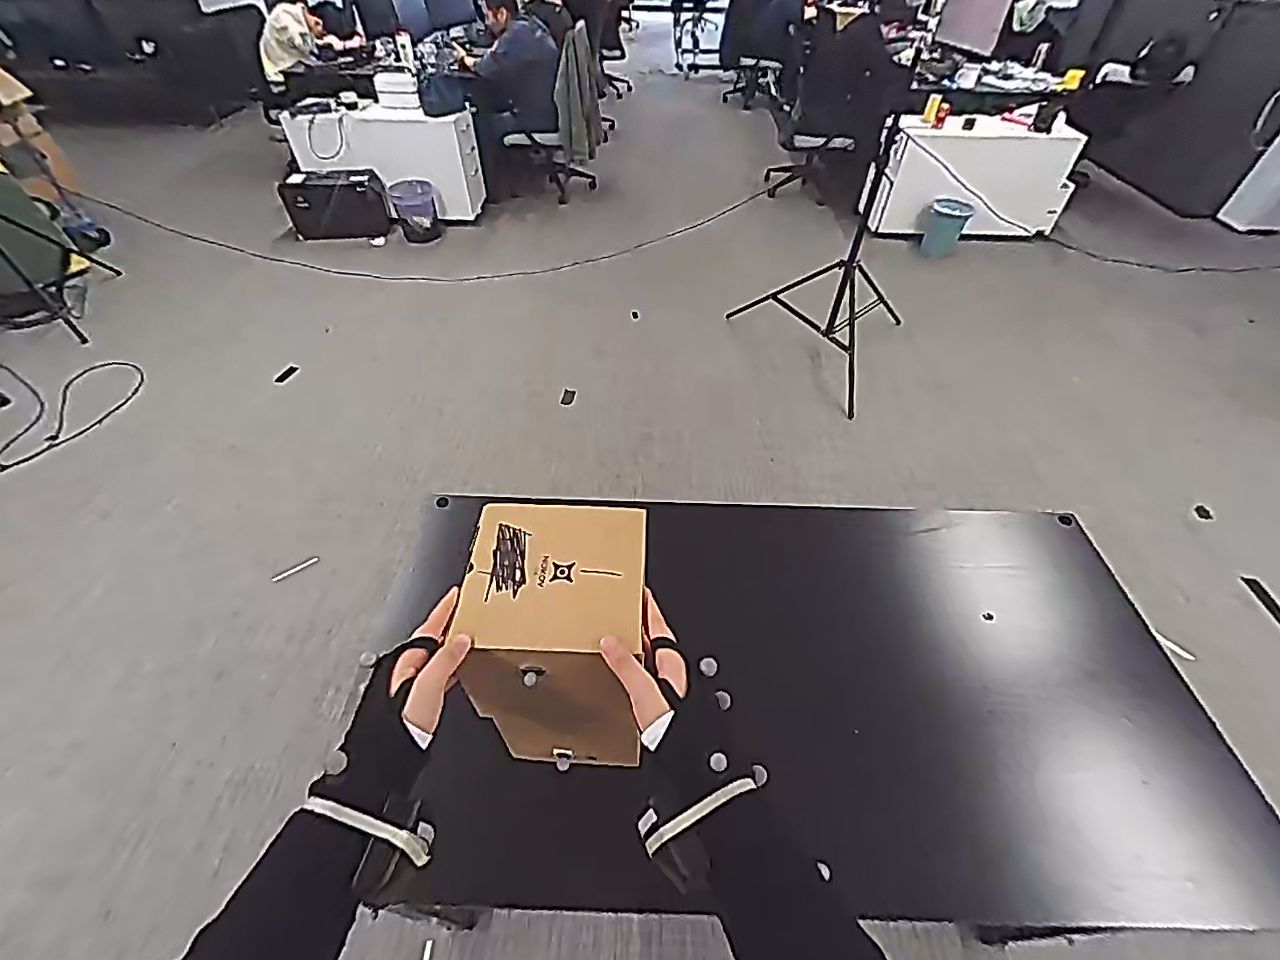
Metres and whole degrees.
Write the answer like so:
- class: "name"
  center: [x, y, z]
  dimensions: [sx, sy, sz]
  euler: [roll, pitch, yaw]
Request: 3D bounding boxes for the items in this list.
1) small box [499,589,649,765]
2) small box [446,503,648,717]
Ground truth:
- class: "small box"
  center: [-0.074, 0.250, 0.707]
  dimensions: [0.168, 0.176, 0.179]
  euler: [1, 48, 2]
- class: "small box"
  center: [-0.081, 0.142, 0.583]
  dimensions: [0.179, 0.176, 0.168]
  euler: [2, 47, 1]
